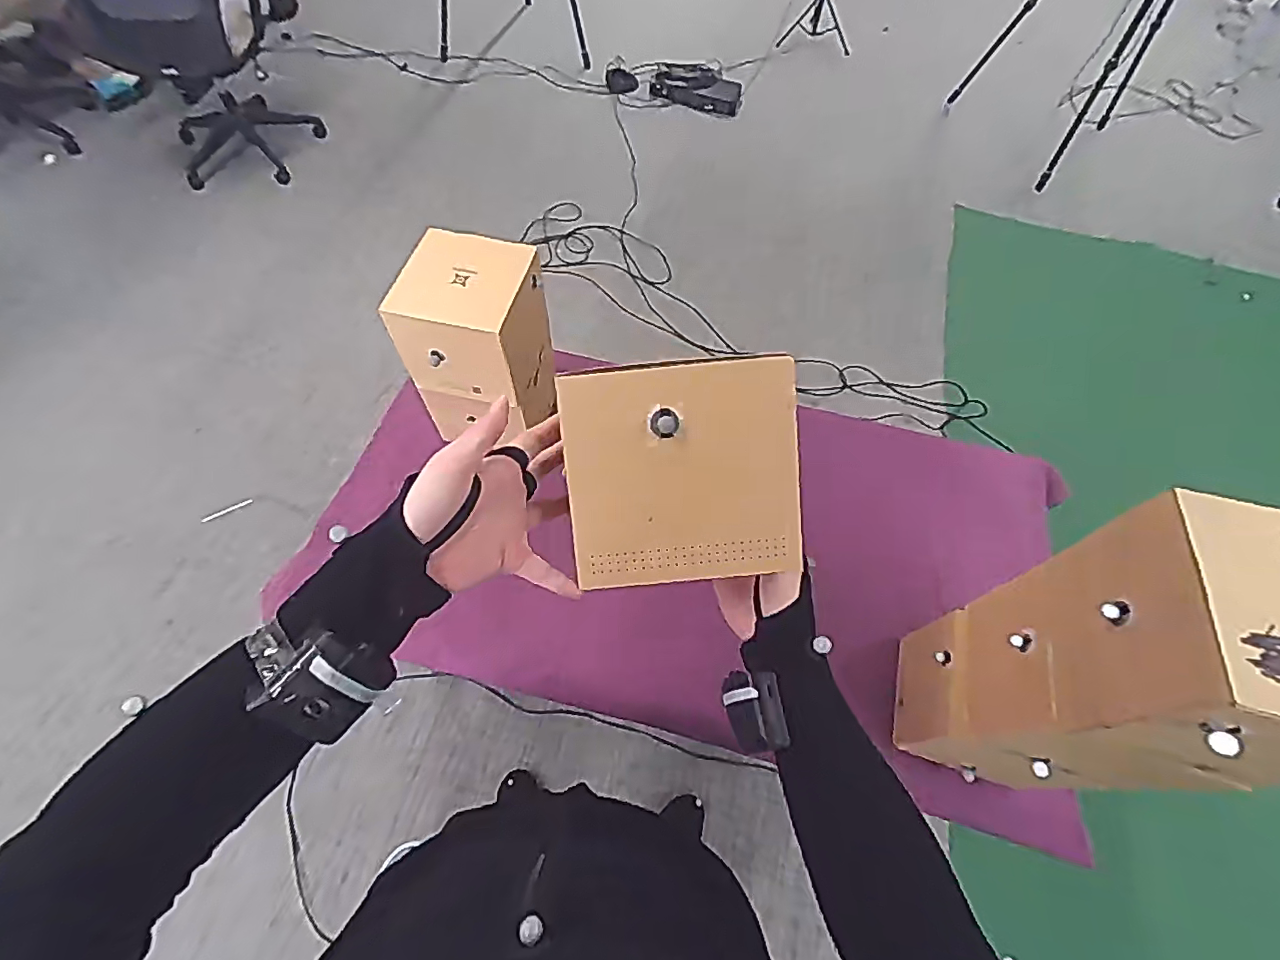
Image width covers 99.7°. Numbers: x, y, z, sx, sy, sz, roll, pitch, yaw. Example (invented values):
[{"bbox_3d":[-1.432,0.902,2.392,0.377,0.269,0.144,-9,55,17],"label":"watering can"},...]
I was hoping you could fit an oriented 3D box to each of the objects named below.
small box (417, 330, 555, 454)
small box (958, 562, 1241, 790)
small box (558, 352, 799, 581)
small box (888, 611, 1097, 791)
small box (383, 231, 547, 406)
[{"bbox_3d":[-0.256,-0.164,0.957,0.179,0.176,0.168,11,61,3],"label":"small box"},{"bbox_3d":[0.480,0.221,0.600,0.168,0.176,0.179,17,61,8],"label":"small box"},{"bbox_3d":[0.033,-0.016,0.483,0.179,0.168,0.176,-5,101,0],"label":"small box"},{"bbox_3d":[0.470,0.304,0.740,0.179,0.176,0.168,18,60,7],"label":"small box"},{"bbox_3d":[-0.245,-0.236,0.812,0.168,0.176,0.179,12,61,3],"label":"small box"}]
